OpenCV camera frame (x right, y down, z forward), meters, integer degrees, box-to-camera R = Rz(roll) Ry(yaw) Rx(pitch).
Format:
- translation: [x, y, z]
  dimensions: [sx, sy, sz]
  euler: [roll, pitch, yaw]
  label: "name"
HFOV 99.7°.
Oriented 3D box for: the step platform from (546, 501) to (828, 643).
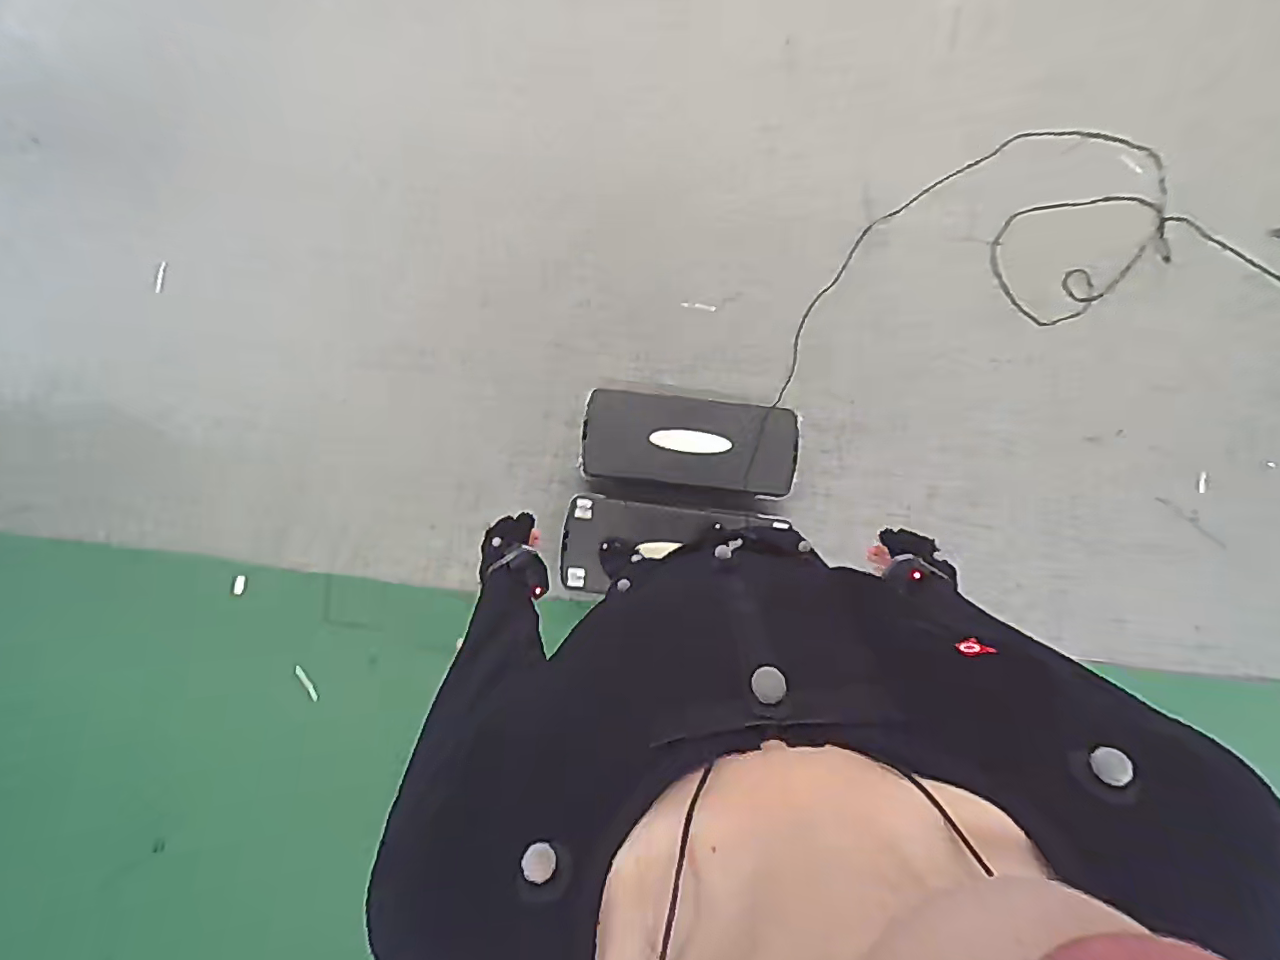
- translation: [0.113, 0.229, 1.395]
  dimensions: [0.684, 0.204, 0.286]
  euler: [6, 85, -1]
  label: "step platform"
